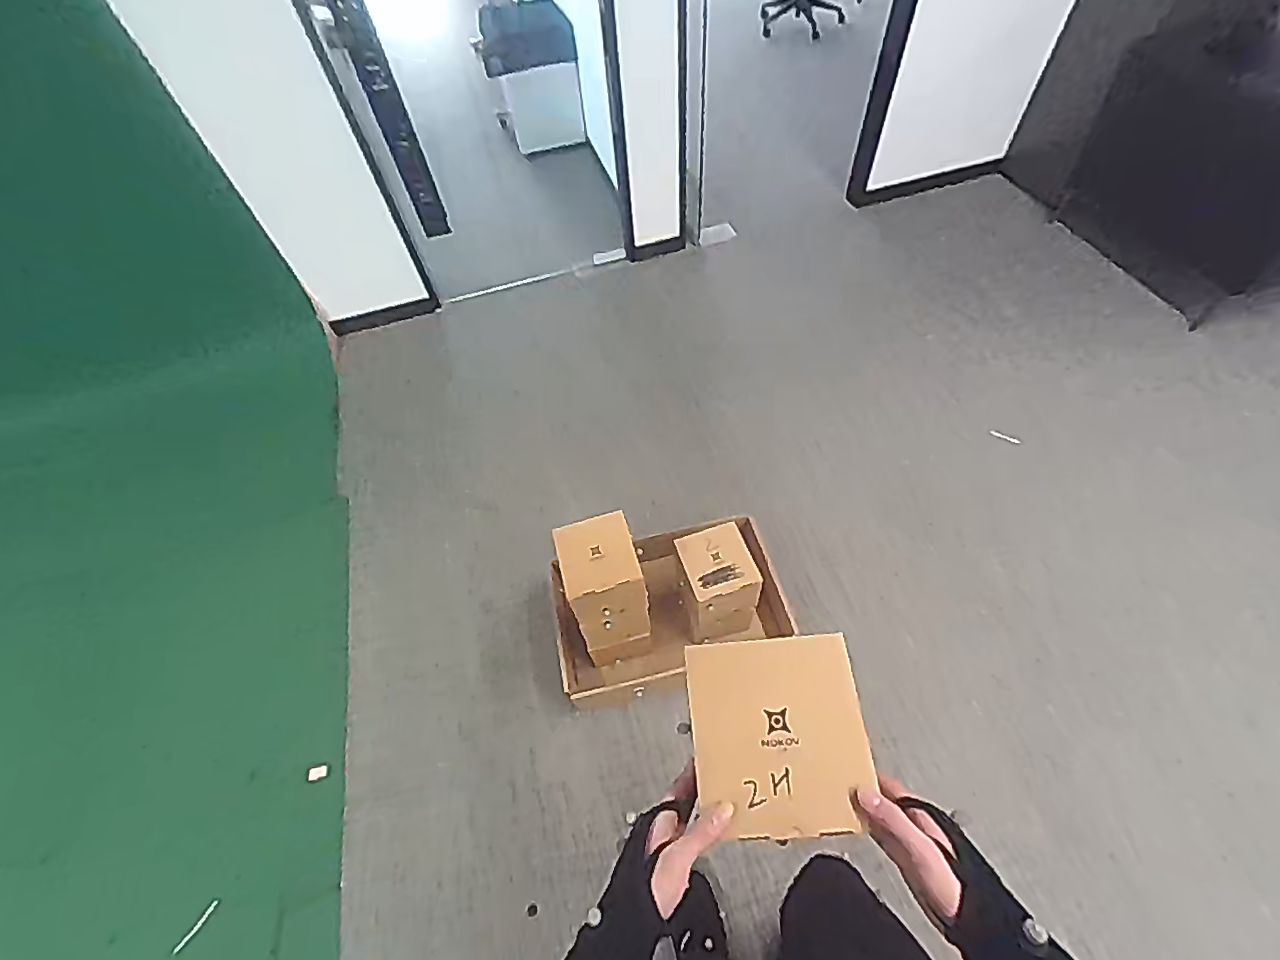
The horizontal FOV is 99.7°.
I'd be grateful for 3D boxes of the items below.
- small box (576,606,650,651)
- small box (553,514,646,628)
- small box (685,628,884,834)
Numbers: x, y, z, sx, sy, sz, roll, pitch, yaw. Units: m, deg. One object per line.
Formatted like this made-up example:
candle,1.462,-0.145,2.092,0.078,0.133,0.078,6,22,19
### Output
small box,-0.078,0.303,1.356,0.168,0.176,0.179,-15,54,-5
small box,-0.090,0.208,1.224,0.168,0.176,0.179,-16,56,-6
small box,0.137,0.272,0.585,0.168,0.176,0.179,-6,61,5
